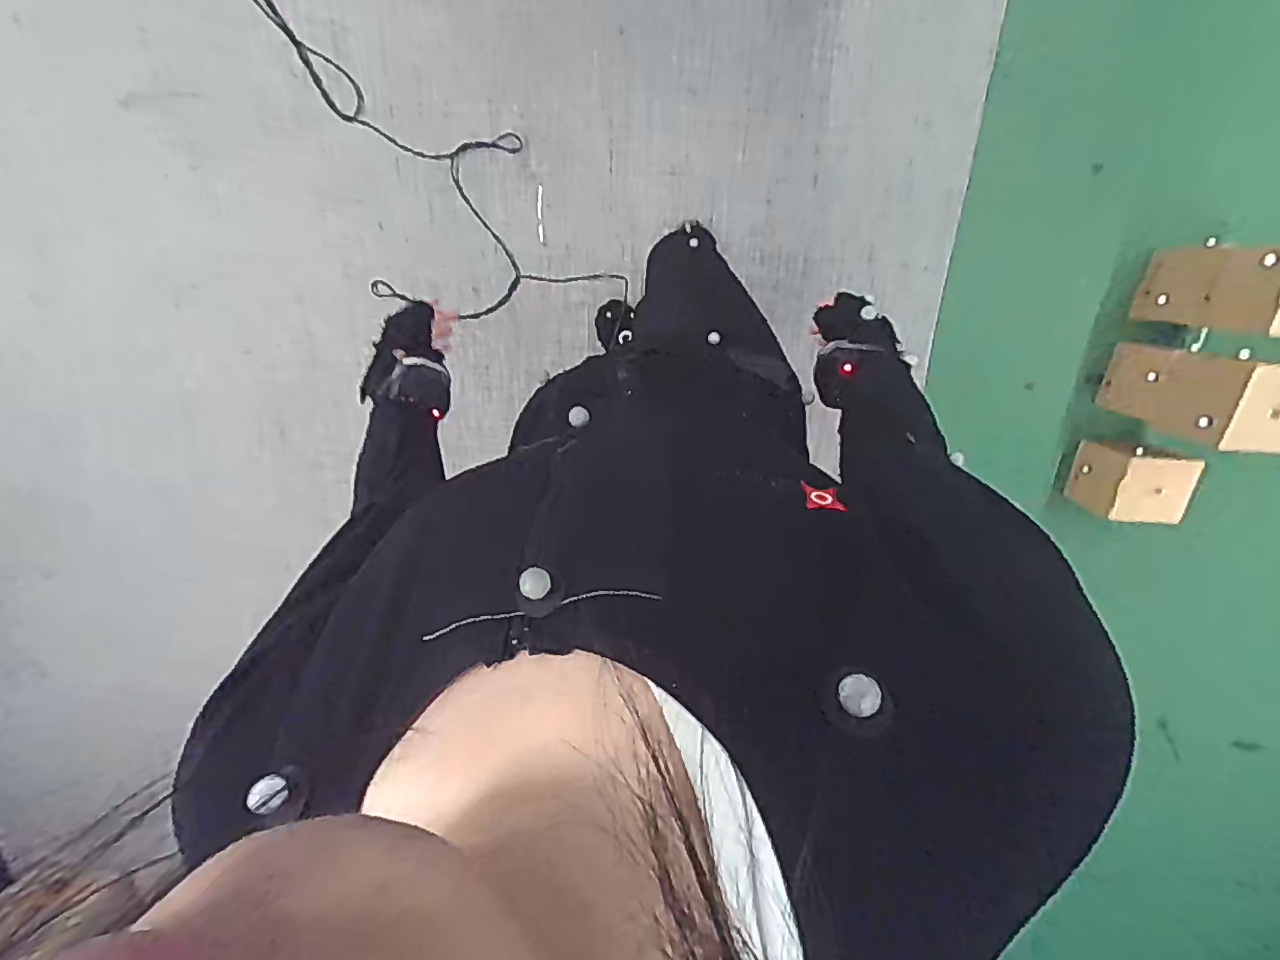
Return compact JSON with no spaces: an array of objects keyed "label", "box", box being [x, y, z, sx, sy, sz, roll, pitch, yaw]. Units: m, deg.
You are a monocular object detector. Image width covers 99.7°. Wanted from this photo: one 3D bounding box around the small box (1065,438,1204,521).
[{"label":"small box","box":[1.264,-0.005,1.396,0.179,0.176,0.168,2,111,2]}]
